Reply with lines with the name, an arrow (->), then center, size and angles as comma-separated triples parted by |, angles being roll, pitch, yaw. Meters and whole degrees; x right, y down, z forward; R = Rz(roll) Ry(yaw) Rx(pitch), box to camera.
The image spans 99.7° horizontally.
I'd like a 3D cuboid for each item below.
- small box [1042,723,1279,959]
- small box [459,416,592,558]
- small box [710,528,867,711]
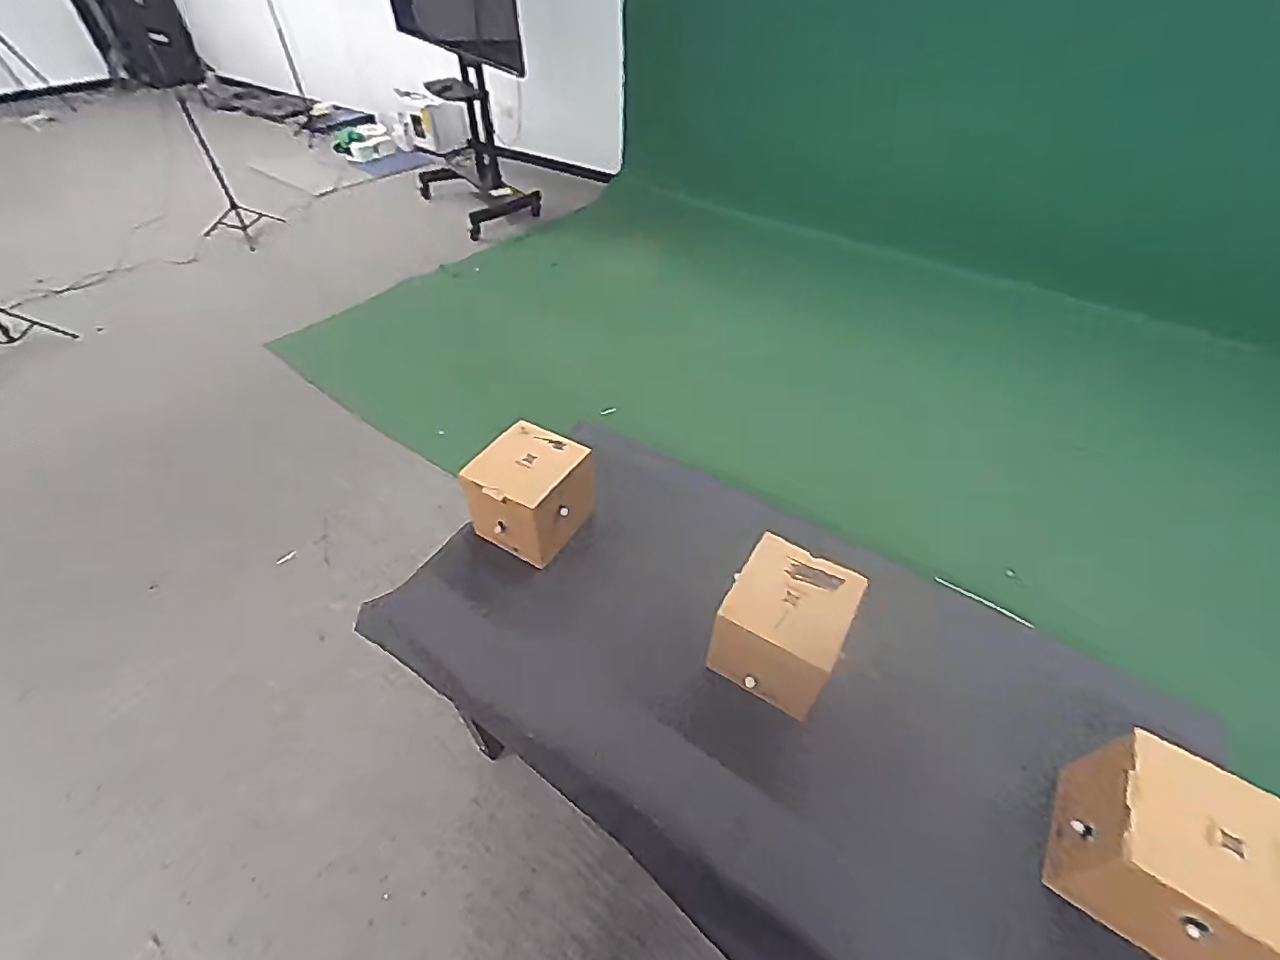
small box -> 0.613, 0.429, 0.628 | 0.179, 0.176, 0.168 | 28, 54, 23
small box -> -0.202, 0.015, 1.015 | 0.168, 0.176, 0.179 | 24, 51, 20
small box -> 0.219, 0.213, 0.830 | 0.168, 0.176, 0.179 | 25, 52, 22
